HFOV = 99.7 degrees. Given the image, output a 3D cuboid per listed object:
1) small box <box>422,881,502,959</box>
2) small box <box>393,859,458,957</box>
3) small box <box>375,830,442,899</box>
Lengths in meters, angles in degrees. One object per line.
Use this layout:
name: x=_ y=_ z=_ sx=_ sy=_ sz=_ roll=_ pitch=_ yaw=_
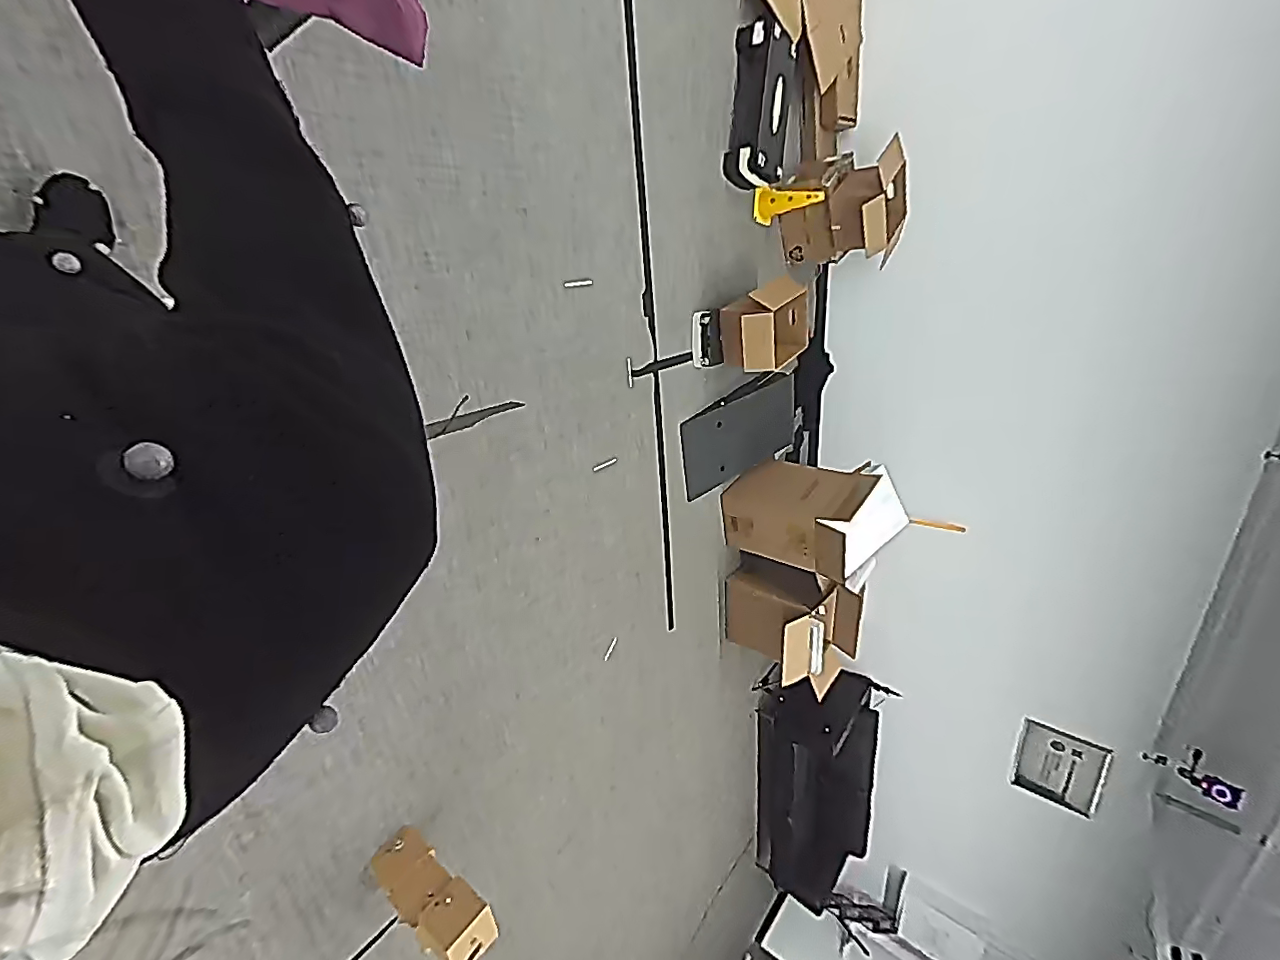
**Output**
small box: x=-0.589 y=1.488 z=1.789 sx=0.168 sy=0.176 sz=0.179 roll=-31 pitch=123 yaw=-45
small box: x=-0.723 y=1.484 z=1.887 sx=0.179 sy=0.176 sz=0.168 roll=-34 pitch=126 yaw=-42
small box: x=-0.842 y=1.445 z=1.994 sx=0.168 sy=0.176 sz=0.179 roll=-33 pitch=125 yaw=-42
